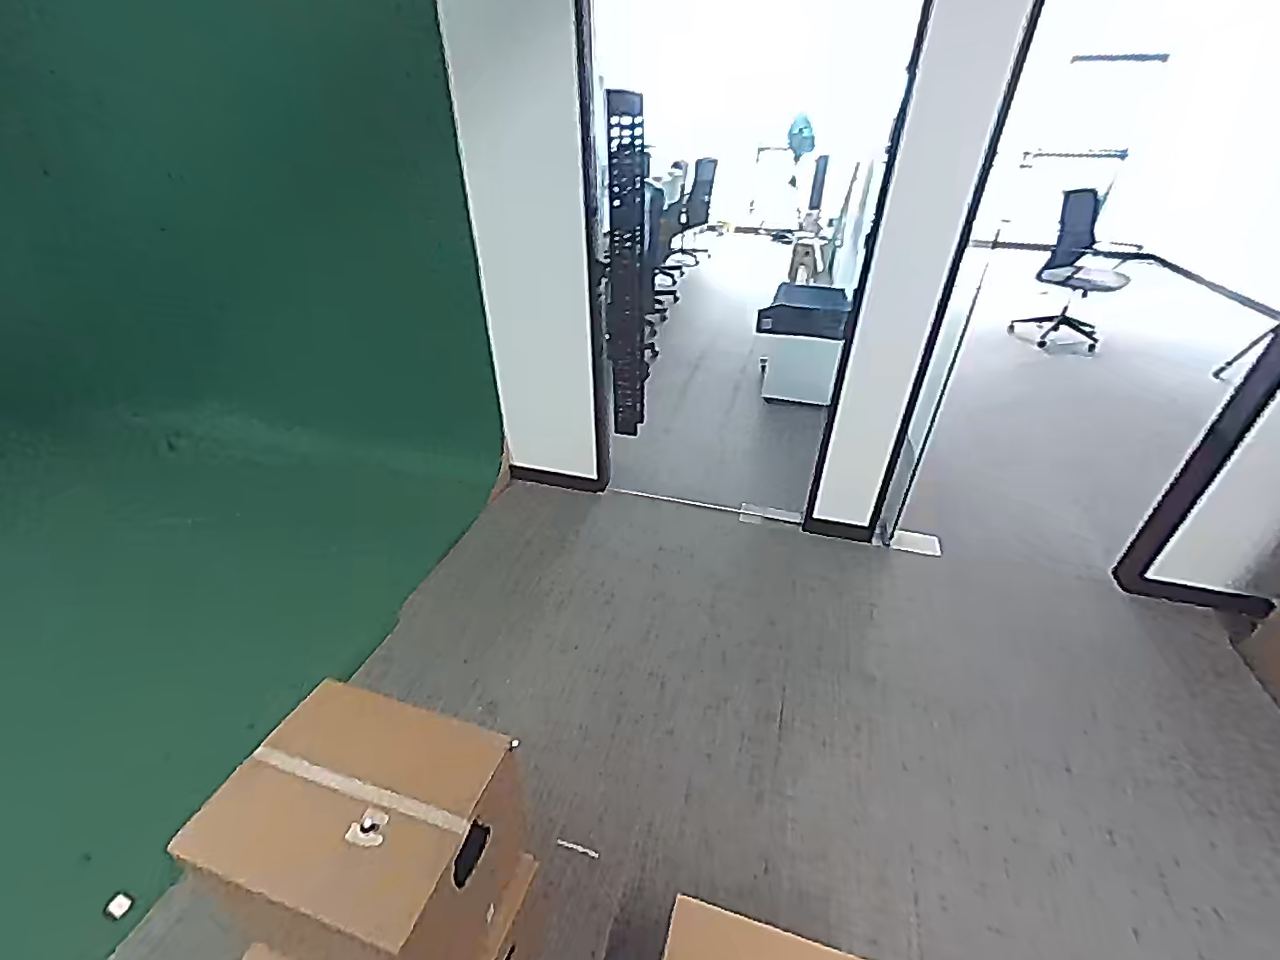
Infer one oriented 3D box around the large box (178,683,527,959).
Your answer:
[{"bbox_3d":[-0.452,0.624,0.942,0.408,0.320,0.320,11,32,14],"label":"large box"}]
